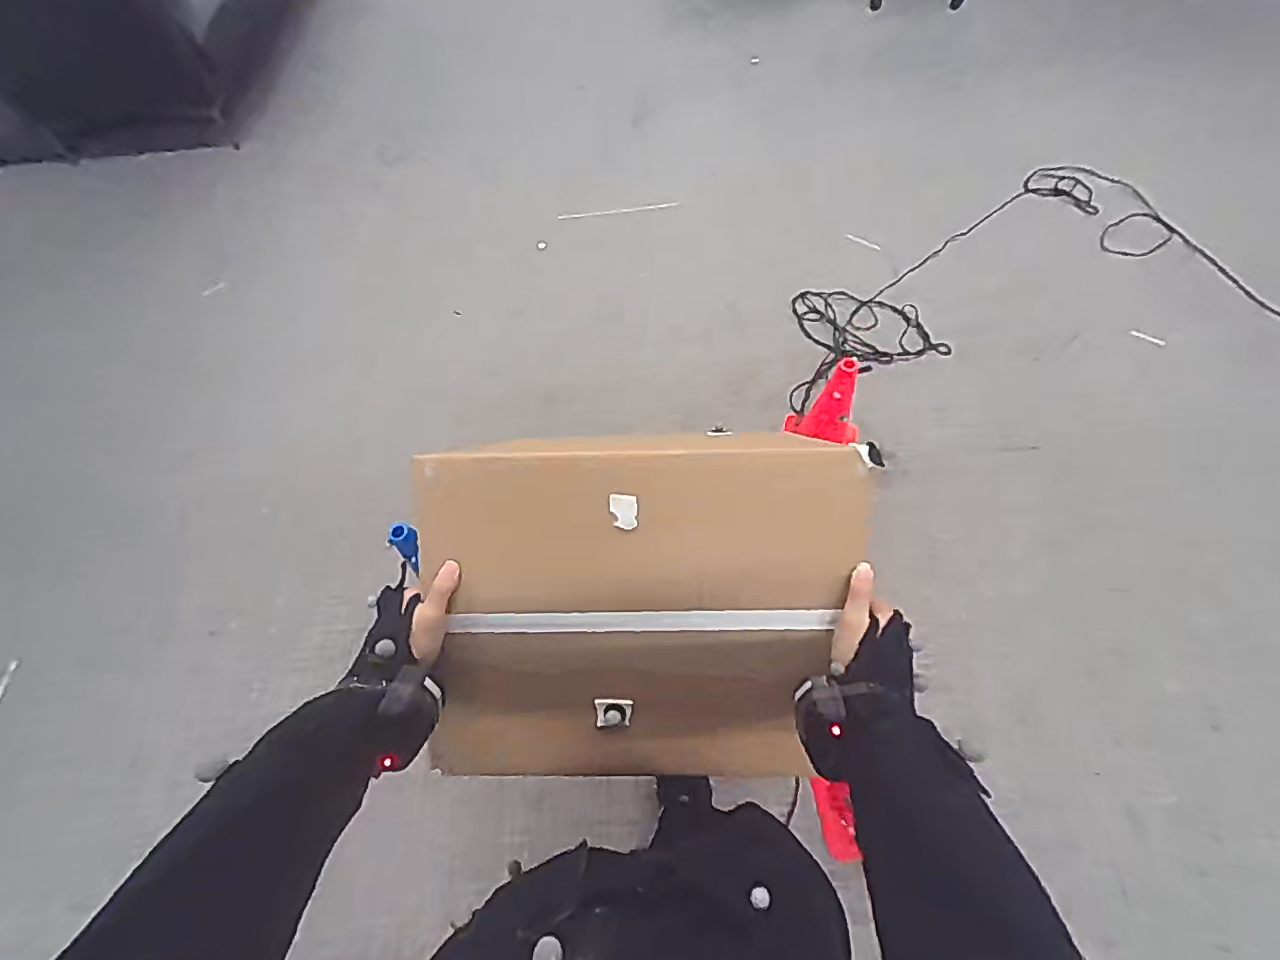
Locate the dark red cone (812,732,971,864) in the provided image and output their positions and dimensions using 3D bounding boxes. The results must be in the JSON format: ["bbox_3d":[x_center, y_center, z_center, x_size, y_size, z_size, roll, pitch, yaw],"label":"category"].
[{"bbox_3d":[0.438,0.536,0.901,0.202,0.394,0.201,-11,62,0],"label":"dark red cone"}]

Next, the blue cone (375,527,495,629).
[{"bbox_3d":[-0.484,0.199,1.240,0.192,0.380,0.193,-5,59,4],"label":"blue cone"}]

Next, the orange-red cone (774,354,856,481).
[{"bbox_3d":[0.468,-0.178,1.334,0.199,0.360,0.198,14,64,12],"label":"orange-red cone"}]
